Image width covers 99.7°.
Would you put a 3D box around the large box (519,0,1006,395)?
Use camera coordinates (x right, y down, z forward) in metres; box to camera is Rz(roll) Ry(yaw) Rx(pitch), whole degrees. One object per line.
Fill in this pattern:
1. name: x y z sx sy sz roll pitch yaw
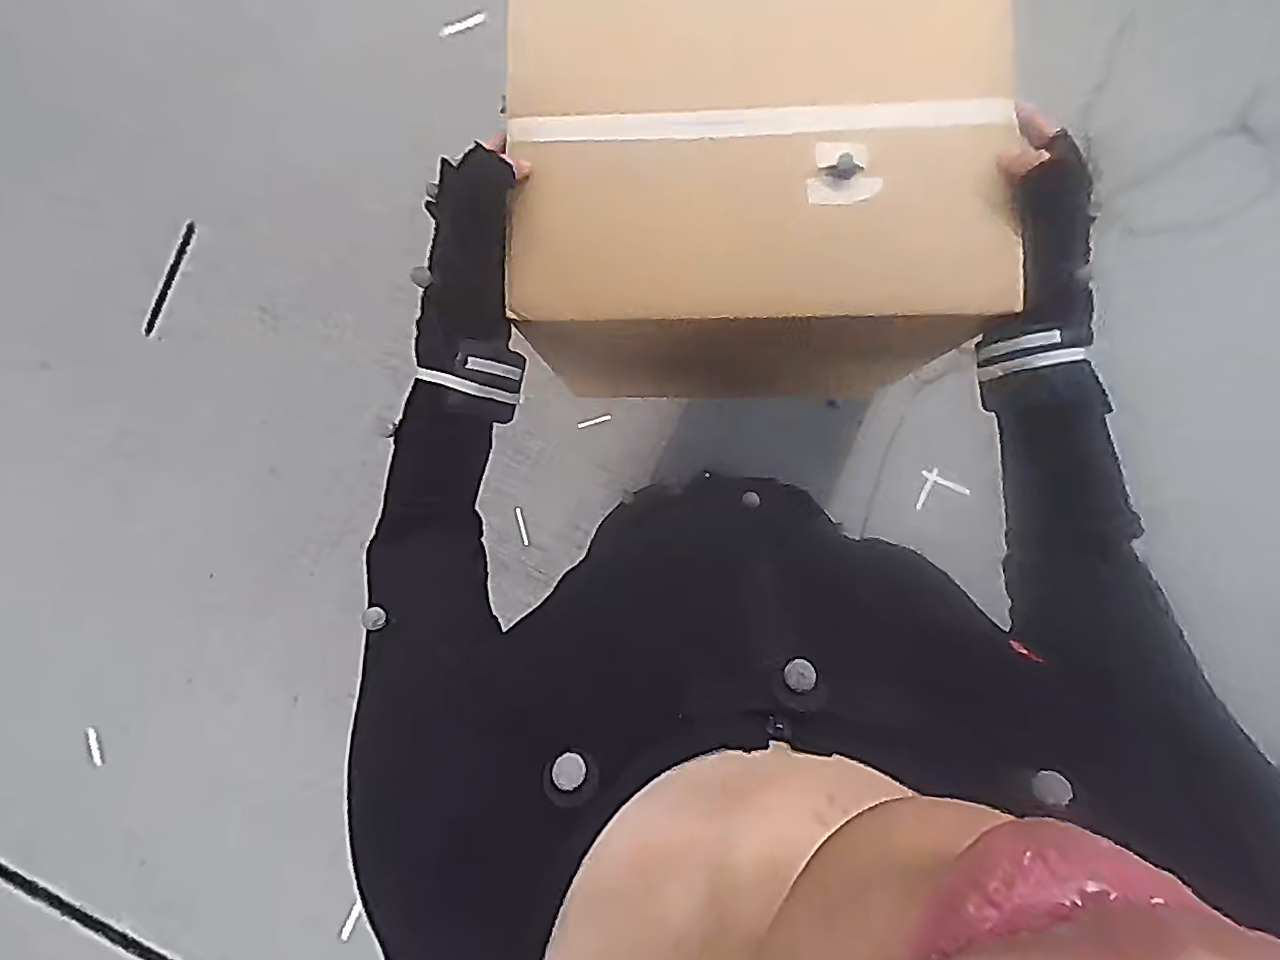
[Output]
1. large box: 0.101 -0.281 0.600 0.408 0.320 0.320 0 87 3
